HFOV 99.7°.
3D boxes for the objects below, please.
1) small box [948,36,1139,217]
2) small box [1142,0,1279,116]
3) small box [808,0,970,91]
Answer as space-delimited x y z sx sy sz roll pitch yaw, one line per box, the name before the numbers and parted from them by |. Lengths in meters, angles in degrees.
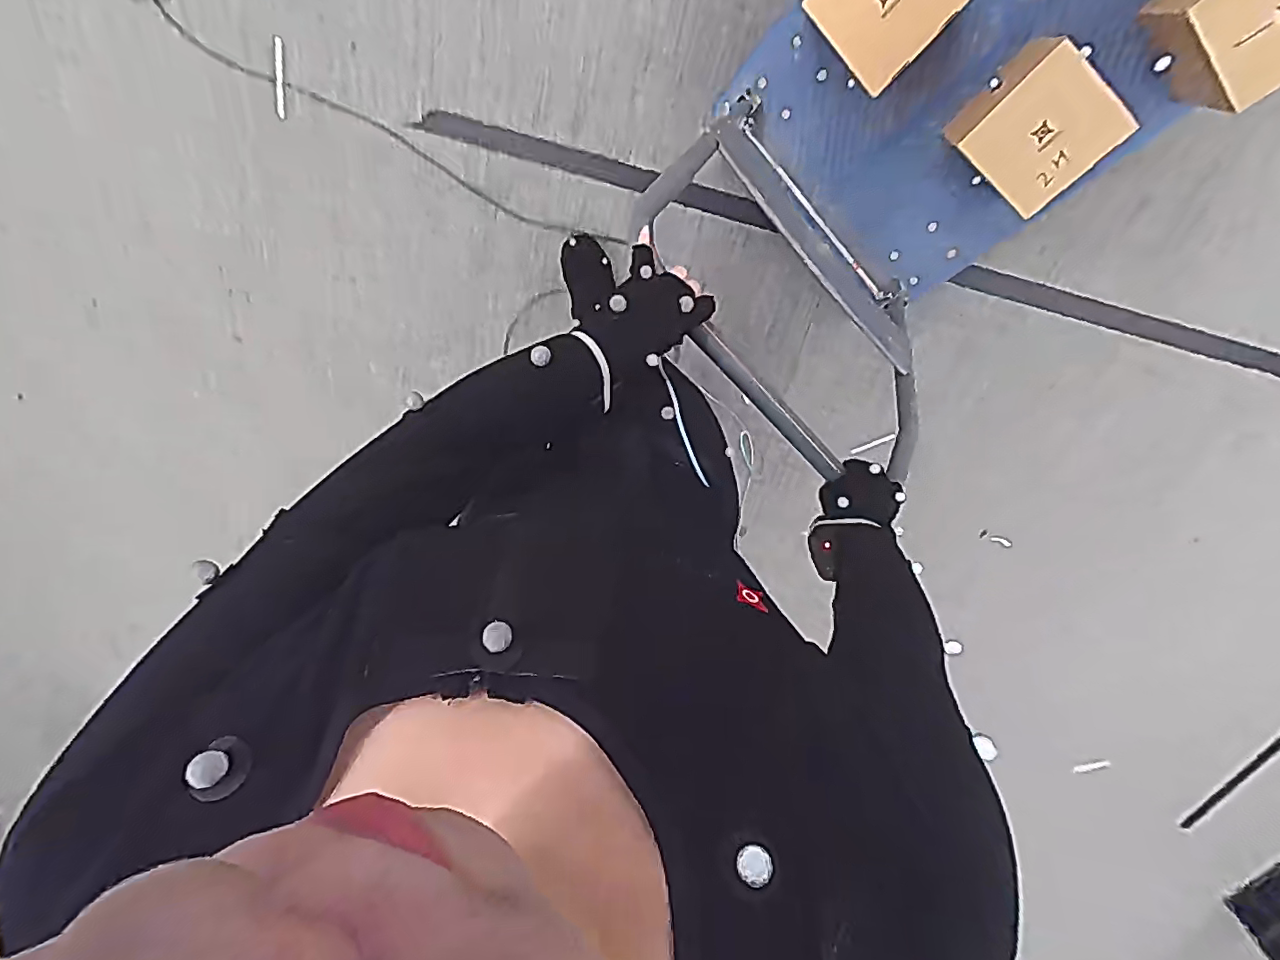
small box | 0.630 -0.565 0.871 0.179 0.176 0.168 38 130 -12
small box | 0.847 -0.642 0.731 0.168 0.176 0.179 43 130 -16
small box | 0.374 -0.737 0.823 0.179 0.176 0.168 40 130 -16
